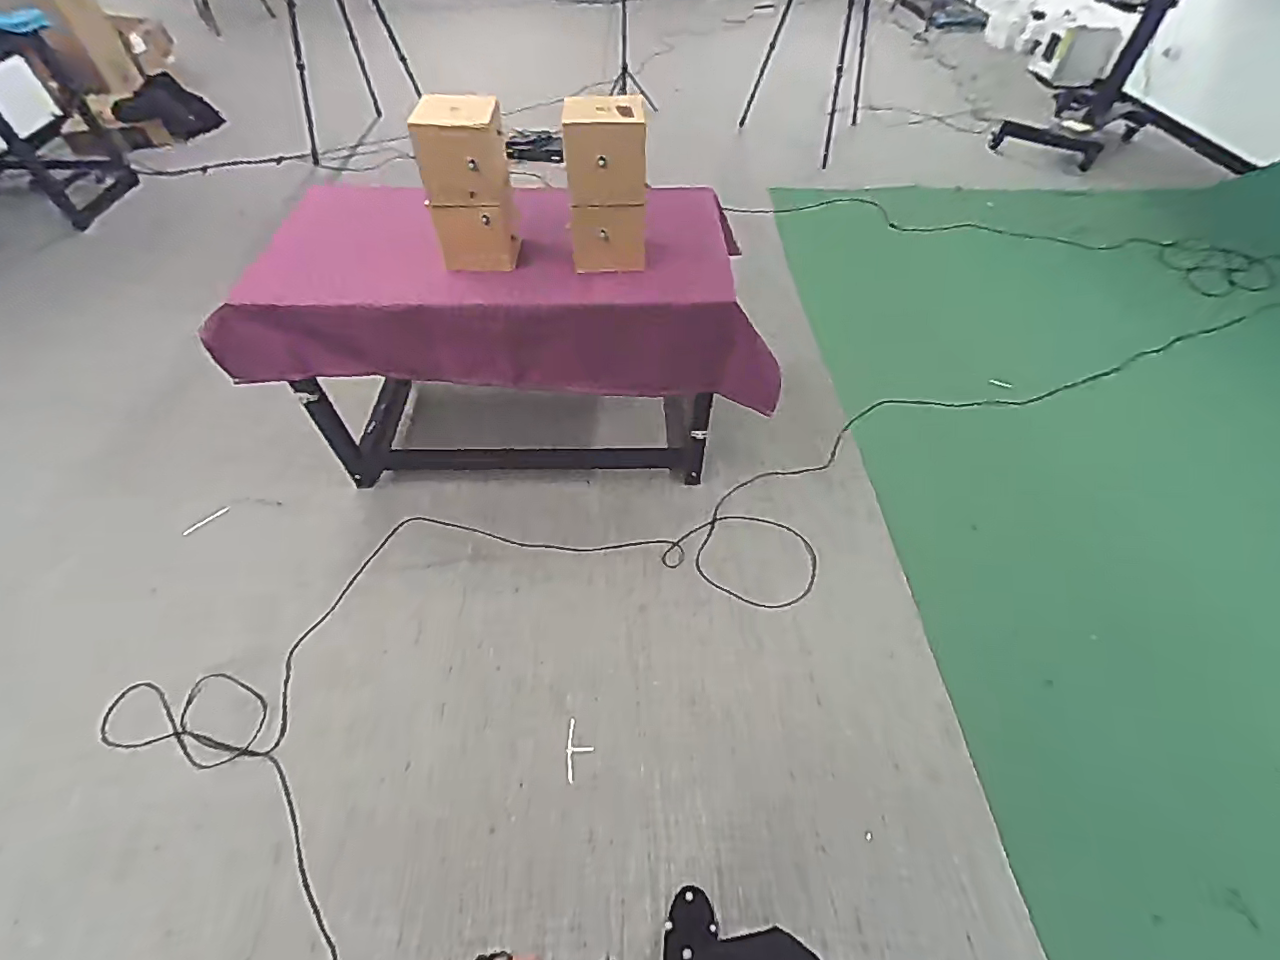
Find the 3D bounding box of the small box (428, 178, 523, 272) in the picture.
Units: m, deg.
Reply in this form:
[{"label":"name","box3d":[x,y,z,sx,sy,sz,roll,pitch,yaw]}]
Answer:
[{"label":"small box","box3d":[-0.403,-0.640,1.358,0.179,0.176,0.168,1,51,-1]}]

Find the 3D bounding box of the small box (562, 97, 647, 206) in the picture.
[{"label":"small box","box3d":[-0.076,-0.740,1.223,0.179,0.176,0.168,-2,51,-1]}]

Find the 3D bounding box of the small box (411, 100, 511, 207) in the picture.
[{"label":"small box","box3d":[-0.395,-0.741,1.231,0.168,0.176,0.179,0,50,-2]}]

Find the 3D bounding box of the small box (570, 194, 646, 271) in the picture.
[{"label":"small box","box3d":[-0.076,-0.640,1.354,0.179,0.176,0.168,-3,52,-2]}]
